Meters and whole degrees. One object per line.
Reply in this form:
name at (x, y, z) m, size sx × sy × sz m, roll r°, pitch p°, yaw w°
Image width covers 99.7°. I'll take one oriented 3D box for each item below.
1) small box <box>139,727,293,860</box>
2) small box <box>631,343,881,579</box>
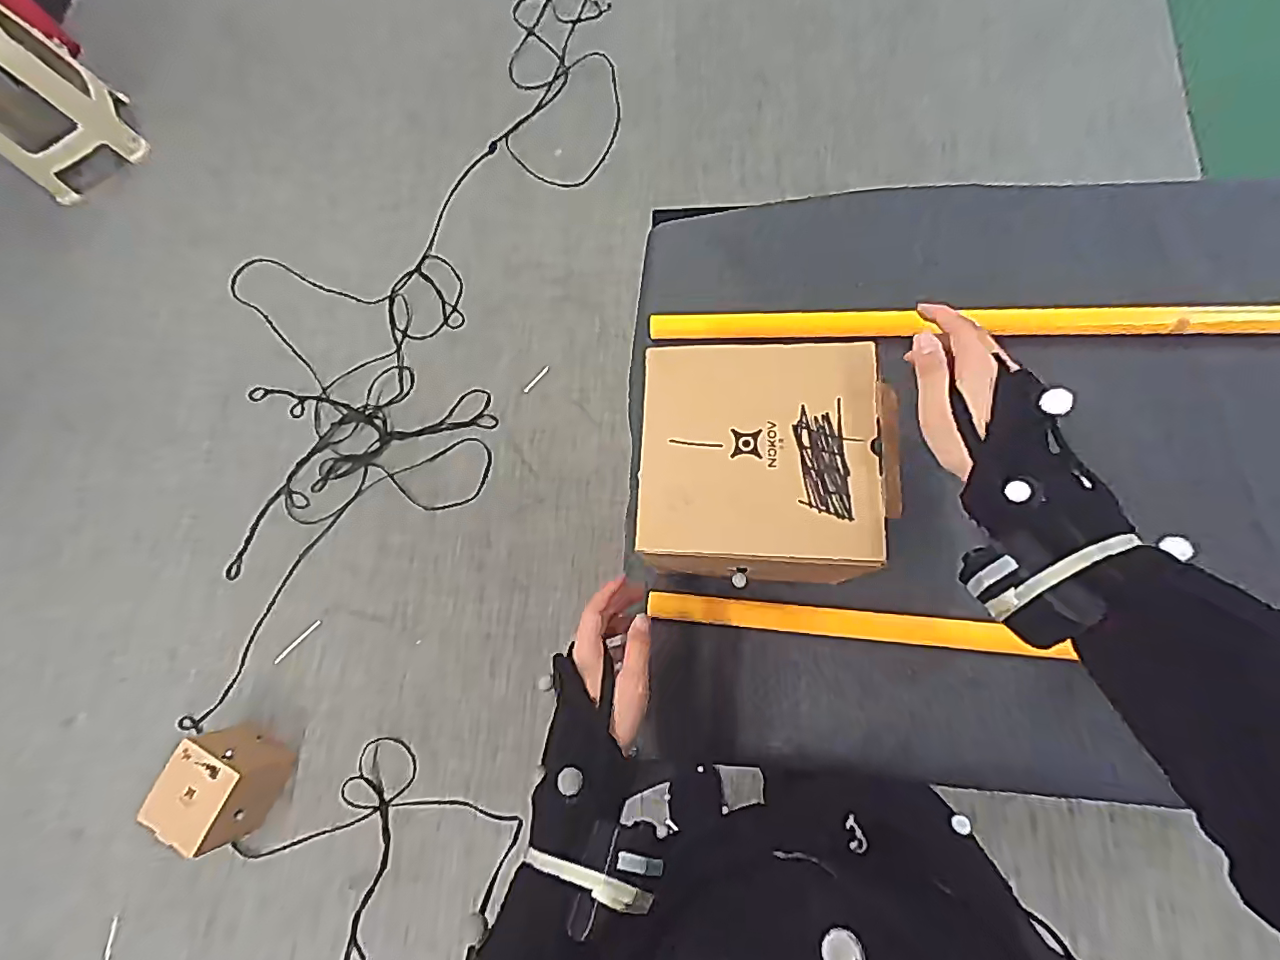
small box at (-0.916, 0.672, 1.186) m, size 0.168 × 0.176 × 0.179 m, roll 23°, pitch 79°, yaw 13°
small box at (0.095, -0.005, 0.475) m, size 0.179 × 0.176 × 0.168 m, roll 2°, pitch 75°, yaw 9°
